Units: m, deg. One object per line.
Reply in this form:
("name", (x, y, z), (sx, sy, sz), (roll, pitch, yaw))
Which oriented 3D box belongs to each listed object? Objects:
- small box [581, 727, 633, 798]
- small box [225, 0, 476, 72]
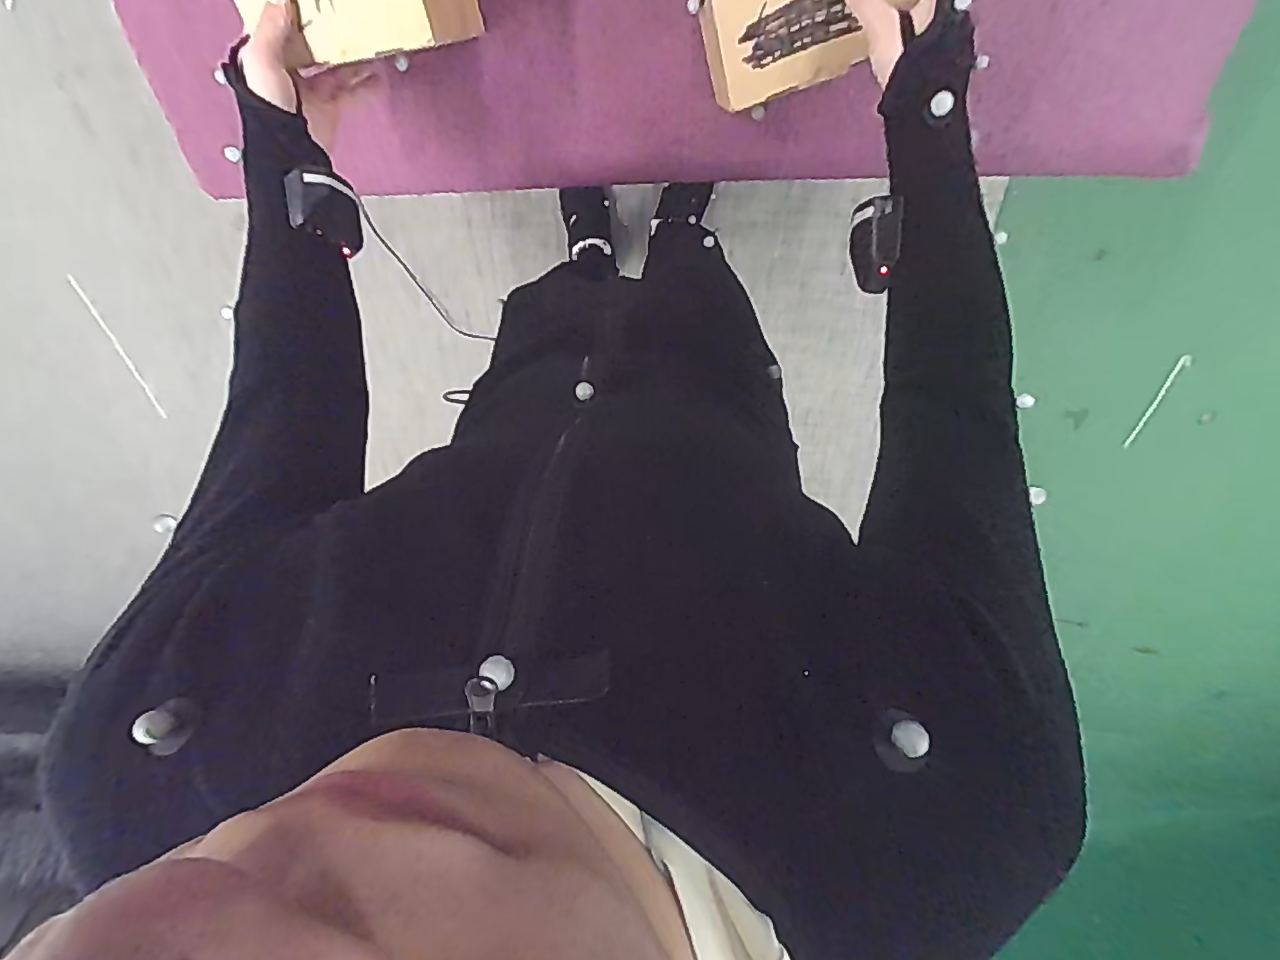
("small box", (-0.116, 1.014, 1.944), (0.168, 0.176, 0.179), (7, 129, -1))
("small box", (-0.268, -0.490, 0.482), (0.168, 0.176, 0.179), (-3, 132, 7))
